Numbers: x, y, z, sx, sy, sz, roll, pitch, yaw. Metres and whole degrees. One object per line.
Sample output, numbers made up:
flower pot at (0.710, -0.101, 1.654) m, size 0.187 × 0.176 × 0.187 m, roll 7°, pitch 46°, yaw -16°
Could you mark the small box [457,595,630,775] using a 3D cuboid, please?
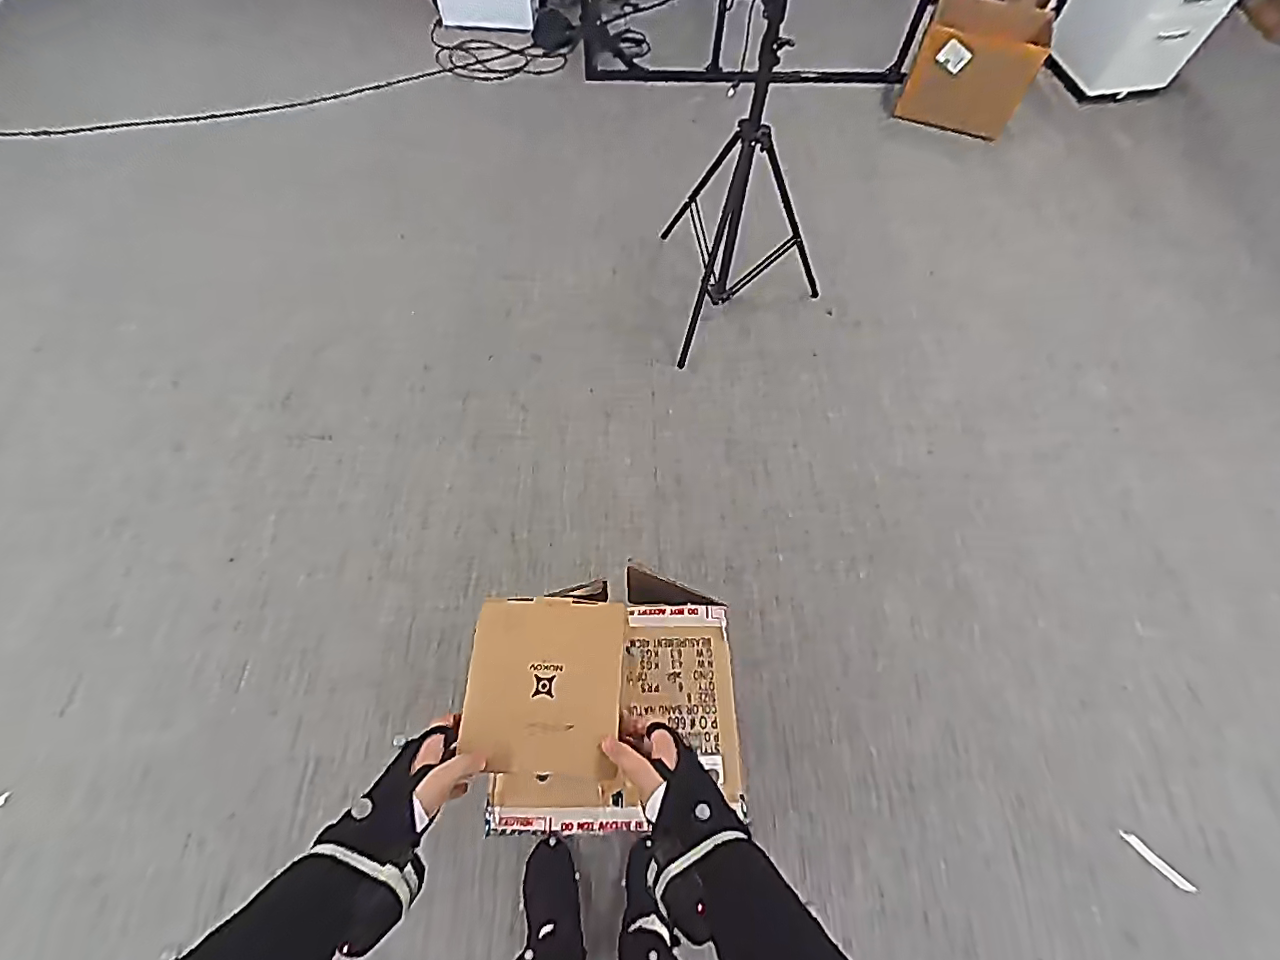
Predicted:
small box at (-0.099, 0.243, 0.645) m, size 0.168 × 0.176 × 0.179 m, roll 1°, pitch 67°, yaw 2°
